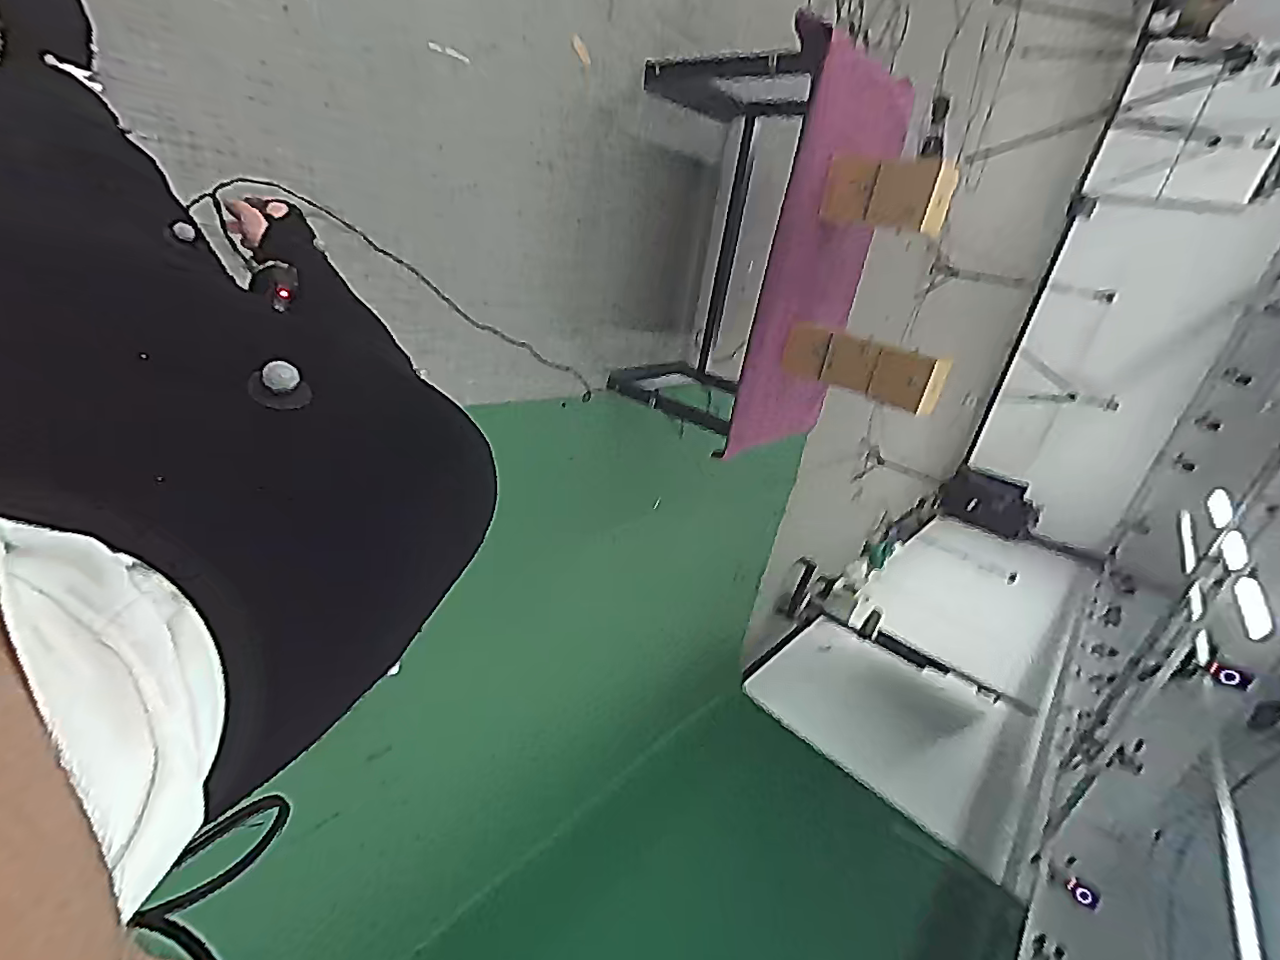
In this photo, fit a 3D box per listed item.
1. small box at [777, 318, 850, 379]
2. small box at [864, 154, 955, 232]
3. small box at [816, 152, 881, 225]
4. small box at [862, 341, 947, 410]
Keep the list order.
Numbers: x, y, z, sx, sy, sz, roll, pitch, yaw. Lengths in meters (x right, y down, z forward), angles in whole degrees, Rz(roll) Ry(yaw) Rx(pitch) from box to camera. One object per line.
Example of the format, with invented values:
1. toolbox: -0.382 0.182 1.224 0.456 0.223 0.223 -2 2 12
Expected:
1. small box: 0.605 -0.464 1.902 0.168 0.176 0.179 -14 124 -46
2. small box: 0.782 -0.840 1.585 0.168 0.176 0.179 -18 126 -45
3. small box: 0.674 -0.910 1.689 0.168 0.176 0.179 -19 127 -44
4. small box: 0.829 -0.331 1.703 0.168 0.176 0.179 -11 122 -47
